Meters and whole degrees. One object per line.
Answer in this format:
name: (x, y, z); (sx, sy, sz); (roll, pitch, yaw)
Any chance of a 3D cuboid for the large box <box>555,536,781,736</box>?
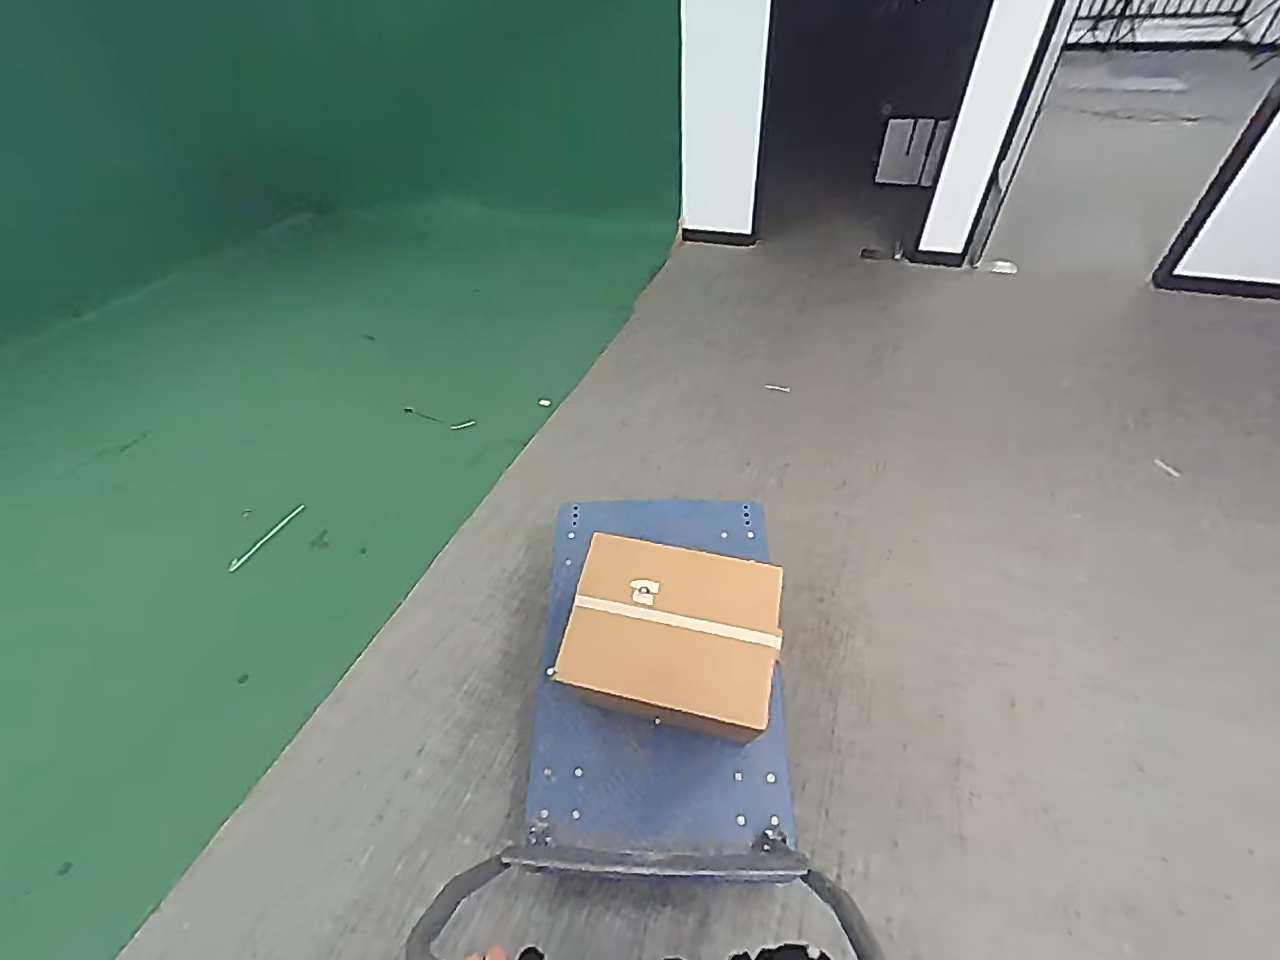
large box: (0.078, 0.351, 1.190); (0.408, 0.320, 0.320); (10, 62, 11)
